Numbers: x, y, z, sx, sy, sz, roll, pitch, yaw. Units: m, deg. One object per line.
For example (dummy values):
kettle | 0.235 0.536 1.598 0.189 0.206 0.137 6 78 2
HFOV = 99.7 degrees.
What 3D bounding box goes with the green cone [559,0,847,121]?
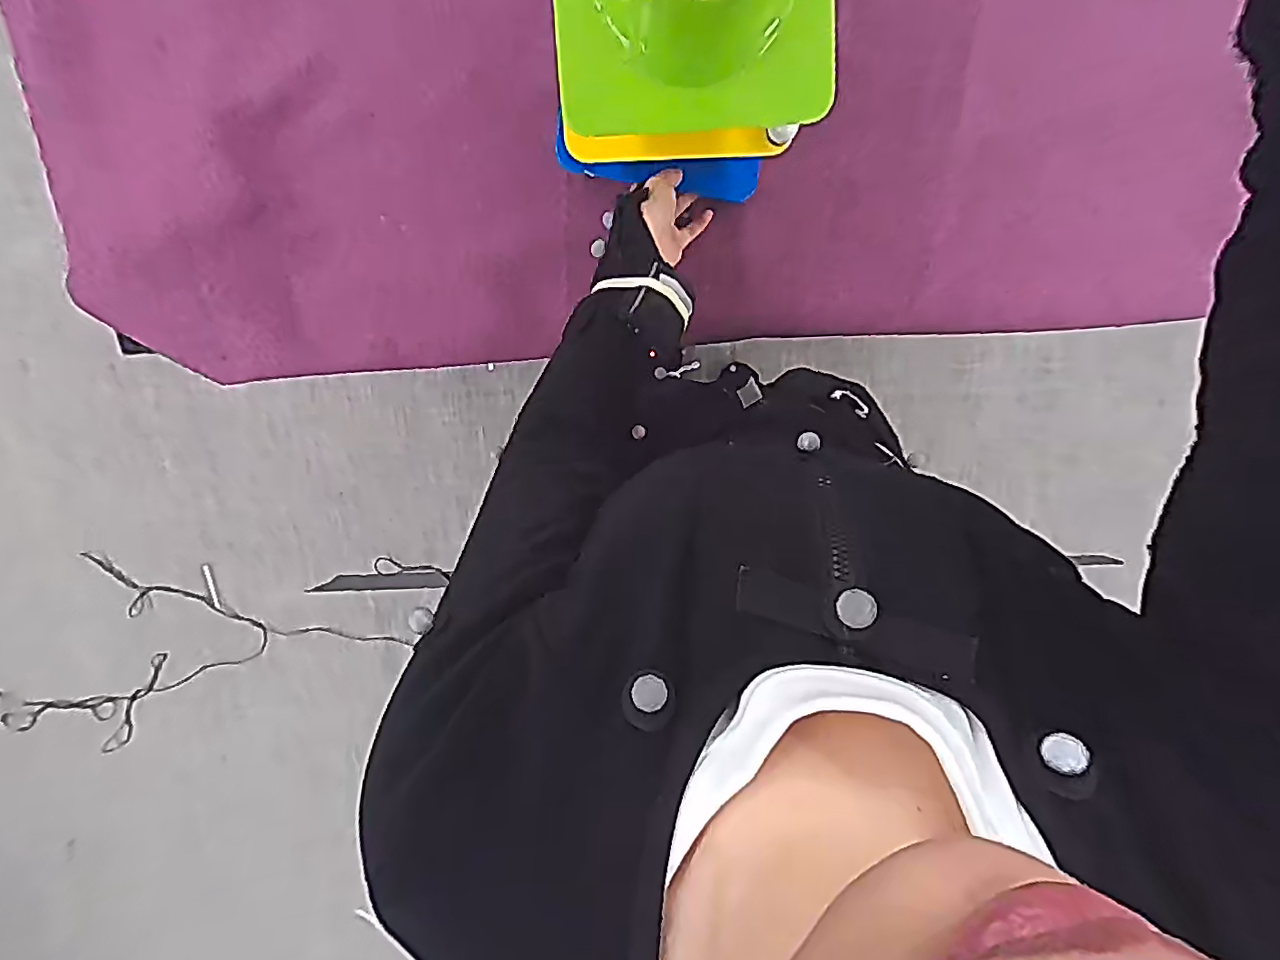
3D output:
green cone | 0.040 -0.330 0.200 0.200 0.368 0.202 -4 100 1
